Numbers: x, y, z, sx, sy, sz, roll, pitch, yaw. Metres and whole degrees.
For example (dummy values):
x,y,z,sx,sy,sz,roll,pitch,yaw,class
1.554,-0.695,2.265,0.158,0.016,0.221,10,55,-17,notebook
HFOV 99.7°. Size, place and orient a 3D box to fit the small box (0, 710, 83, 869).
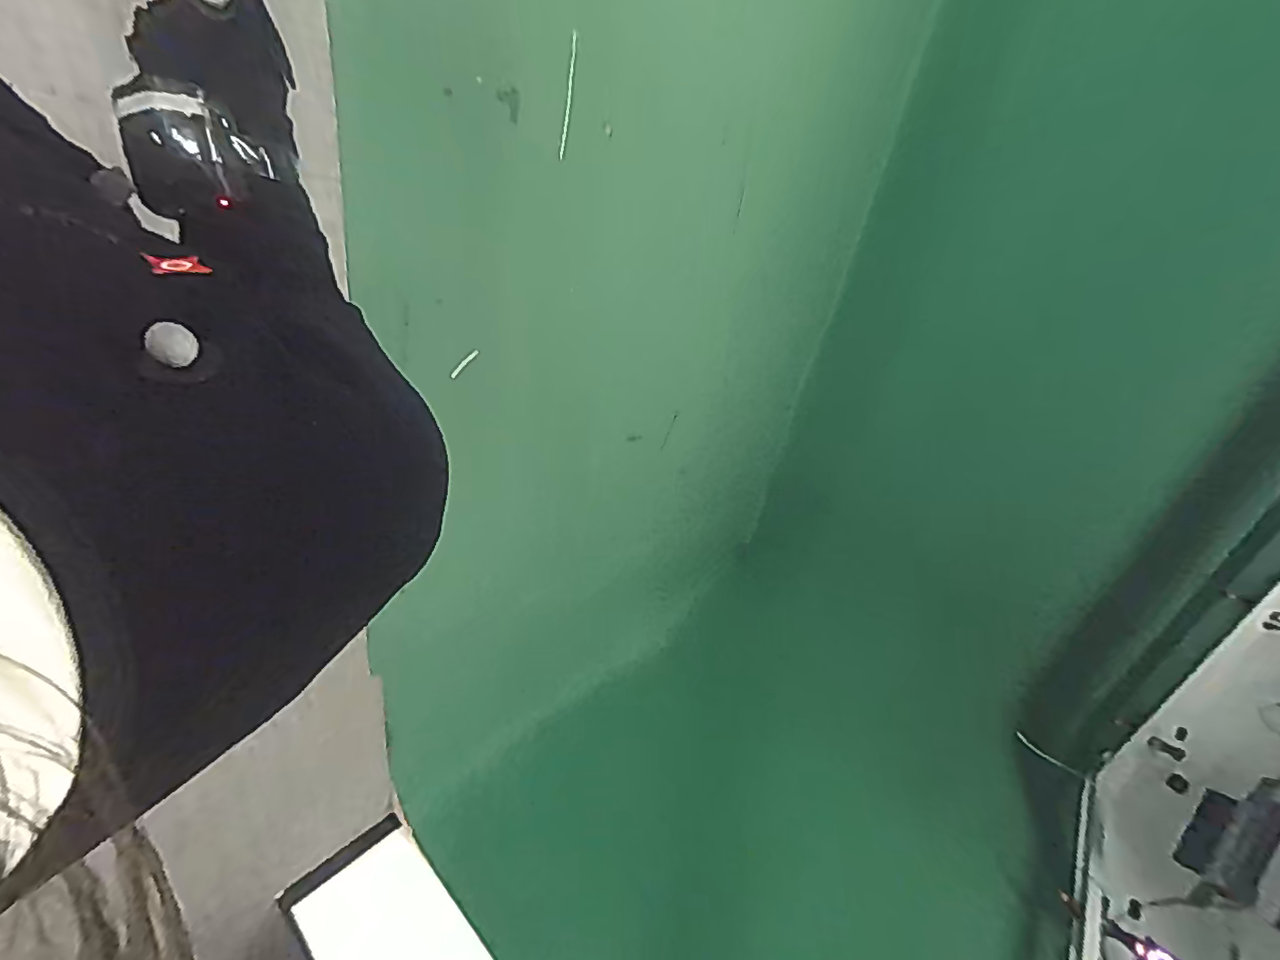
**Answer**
x,y,z,sx,sy,sz,roll,pitch,yaw,class
-1.095,0.535,0.918,0.179,0.176,0.168,-15,124,-50,small box
